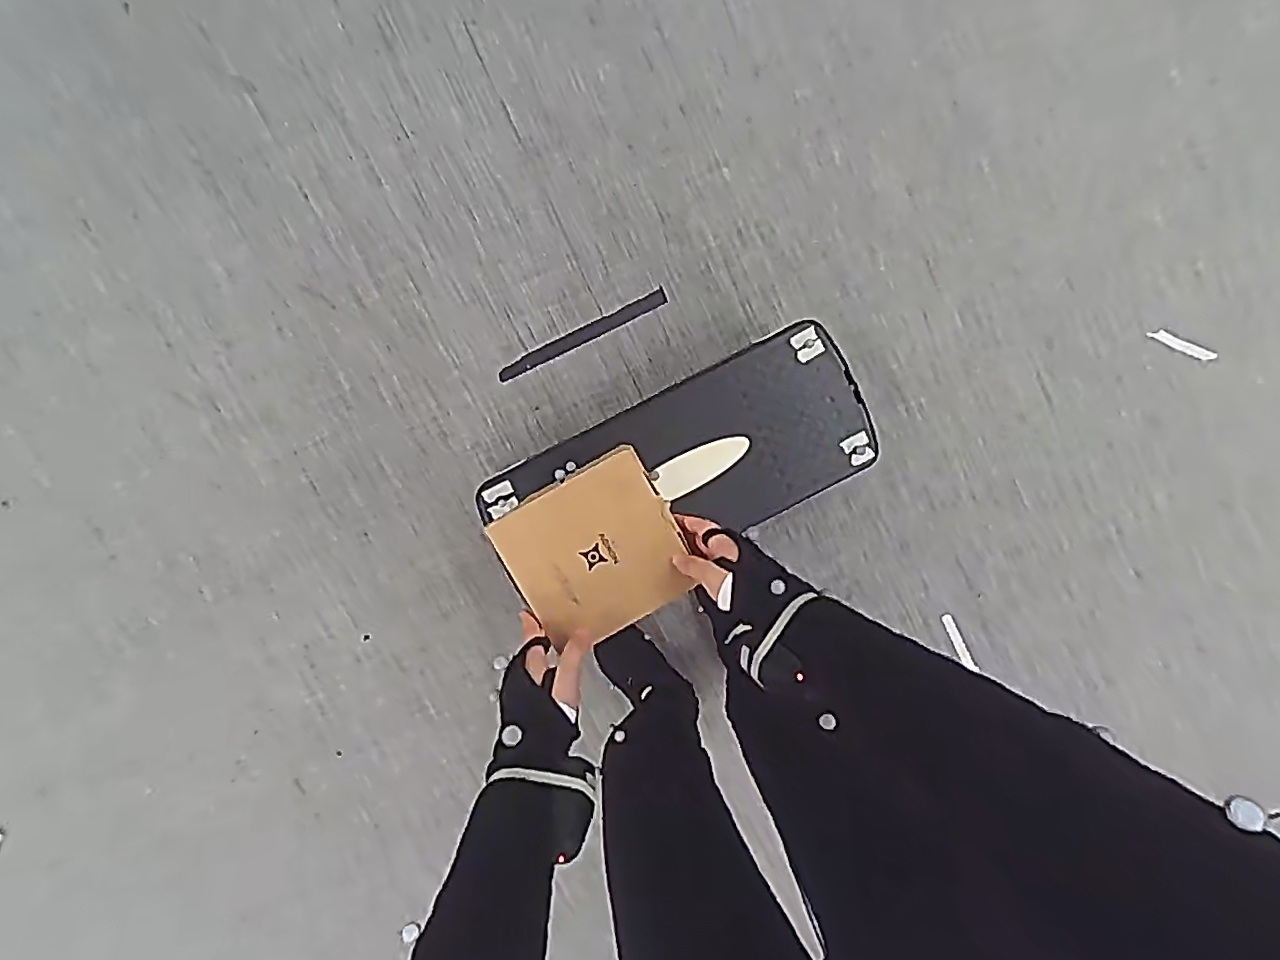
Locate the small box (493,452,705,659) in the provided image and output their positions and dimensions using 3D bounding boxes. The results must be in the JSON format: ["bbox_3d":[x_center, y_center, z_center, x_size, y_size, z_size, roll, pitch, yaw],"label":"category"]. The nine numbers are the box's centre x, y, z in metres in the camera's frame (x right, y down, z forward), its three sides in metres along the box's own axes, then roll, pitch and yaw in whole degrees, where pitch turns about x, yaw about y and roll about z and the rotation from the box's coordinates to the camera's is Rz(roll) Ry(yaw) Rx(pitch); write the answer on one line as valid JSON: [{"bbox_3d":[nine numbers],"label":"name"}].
[{"bbox_3d":[-0.048,0.075,0.651,0.179,0.176,0.168,-30,94,-1],"label":"small box"}]
